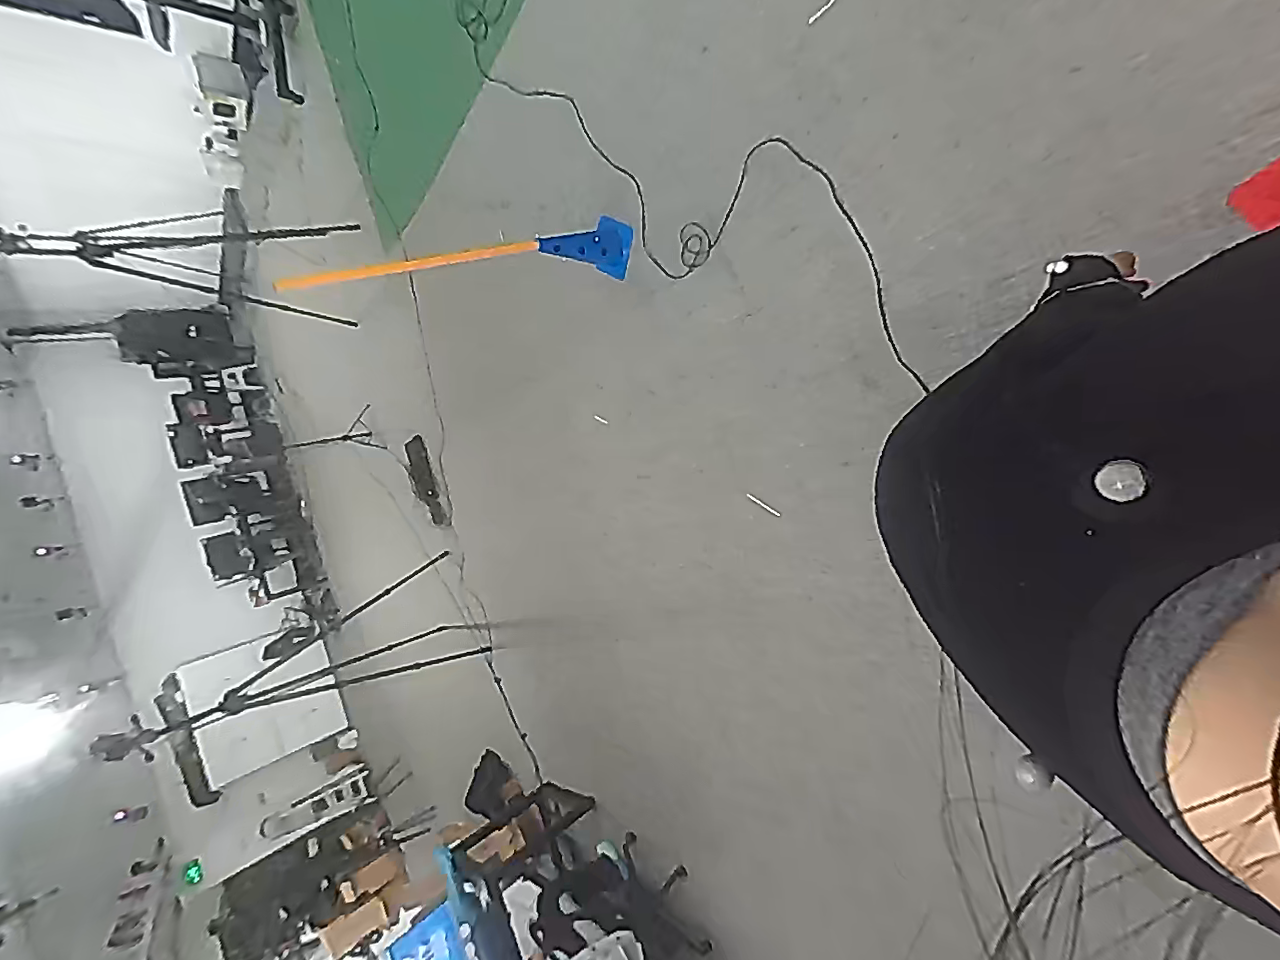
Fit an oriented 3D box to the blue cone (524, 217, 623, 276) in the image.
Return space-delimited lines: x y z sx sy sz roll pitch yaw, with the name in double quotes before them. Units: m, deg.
"blue cone" -0.257 -0.868 2.002 0.192 0.380 0.193 37 129 32
